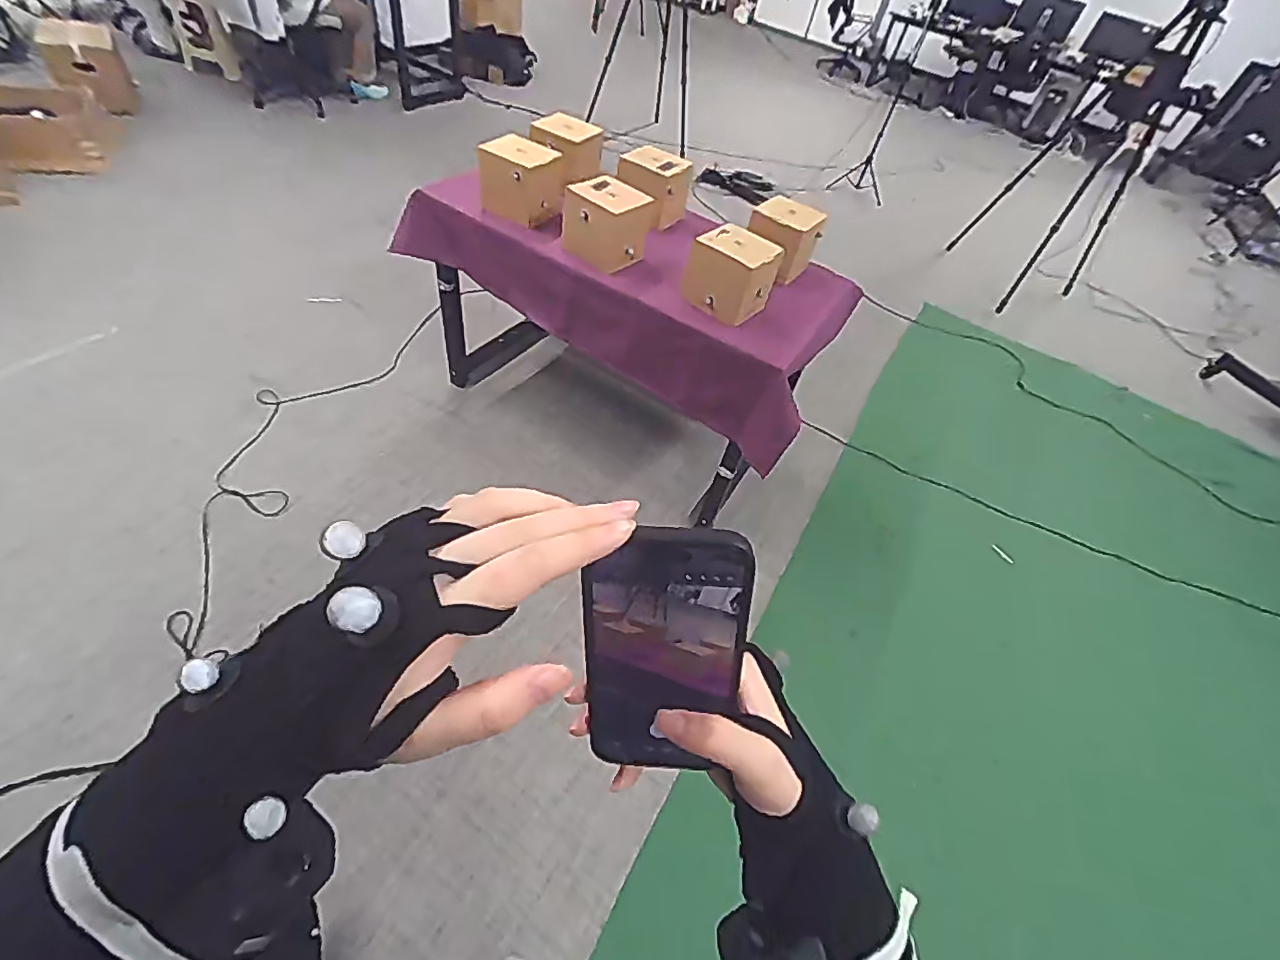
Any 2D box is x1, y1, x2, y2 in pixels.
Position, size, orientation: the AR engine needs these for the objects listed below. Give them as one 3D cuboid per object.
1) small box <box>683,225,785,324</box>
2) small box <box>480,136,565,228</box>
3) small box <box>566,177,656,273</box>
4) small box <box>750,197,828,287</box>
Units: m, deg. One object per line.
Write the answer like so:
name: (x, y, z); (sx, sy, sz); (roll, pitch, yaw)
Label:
small box: (0.240, -0.528, 1.407); (0.179, 0.176, 0.168); (37, 51, 18)
small box: (-0.339, -0.858, 1.558); (0.179, 0.176, 0.168); (27, 49, 9)
small box: (-0.086, -0.693, 1.474); (0.179, 0.176, 0.168); (36, 52, 17)
small box: (0.419, -0.703, 1.597); (0.168, 0.176, 0.179); (33, 52, 17)
